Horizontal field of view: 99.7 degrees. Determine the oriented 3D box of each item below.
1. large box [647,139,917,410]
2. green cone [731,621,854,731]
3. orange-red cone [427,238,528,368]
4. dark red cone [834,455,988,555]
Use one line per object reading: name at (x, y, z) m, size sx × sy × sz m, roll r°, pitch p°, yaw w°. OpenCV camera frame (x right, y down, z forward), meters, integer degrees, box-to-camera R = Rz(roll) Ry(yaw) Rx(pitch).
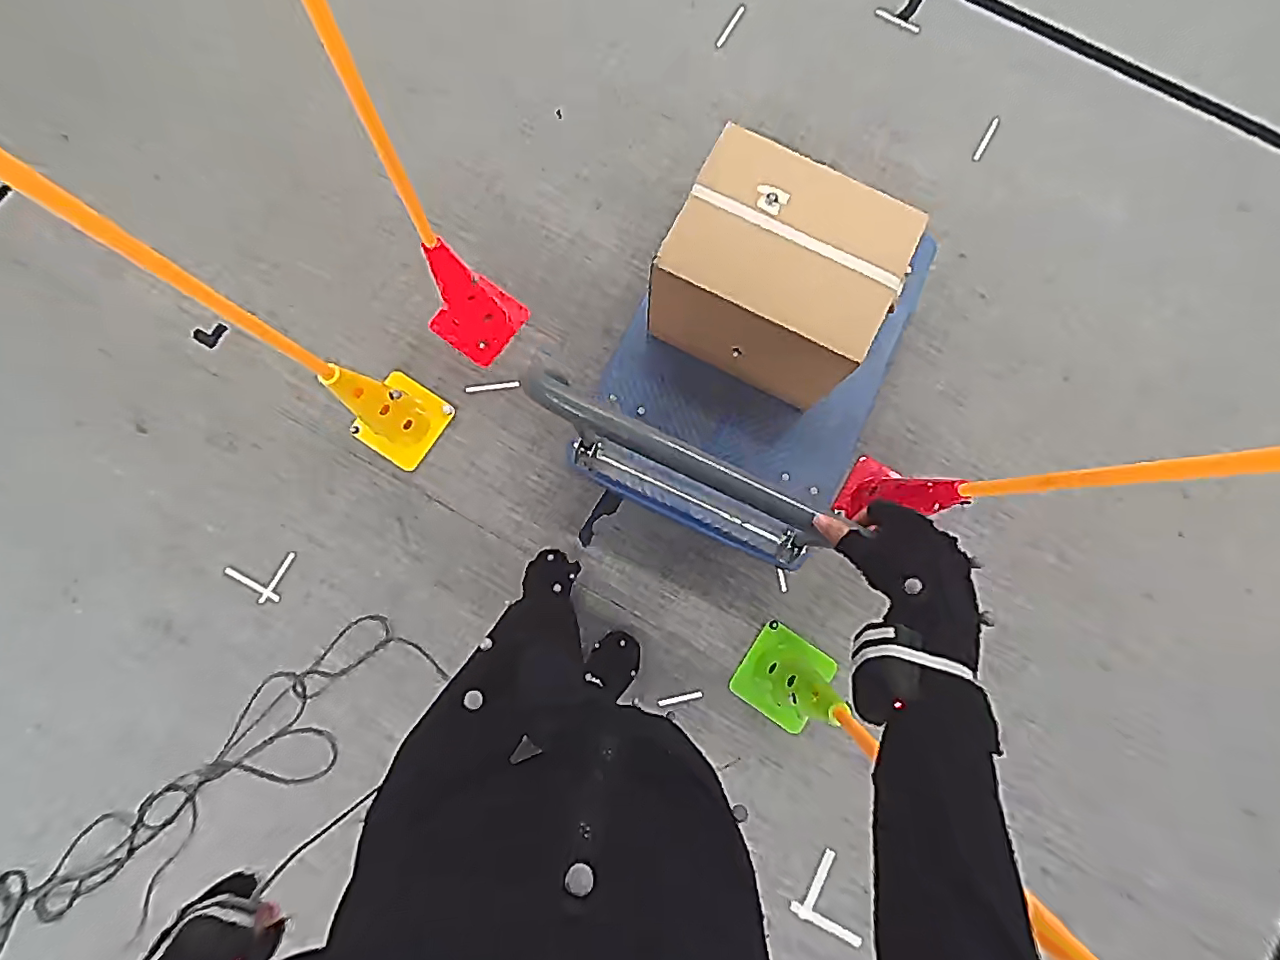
large box at (0.259, -0.391, 1.113) m, size 0.408 × 0.320 × 0.320 m, roll 27°, pitch 83°, yaw 4°
green cone at (0.348, 0.443, 1.126) m, size 0.202 × 0.368 × 0.200 m, roll 34°, pitch 82°, yaw 3°
orange-red cone at (-0.418, -0.443, 1.261) m, size 0.198 × 0.360 × 0.199 m, roll 37°, pitch 81°, yaw 4°
dark red cone at (0.607, 0.035, 1.176) m, size 0.201 × 0.394 × 0.202 m, roll 30°, pitch 82°, yaw 2°
